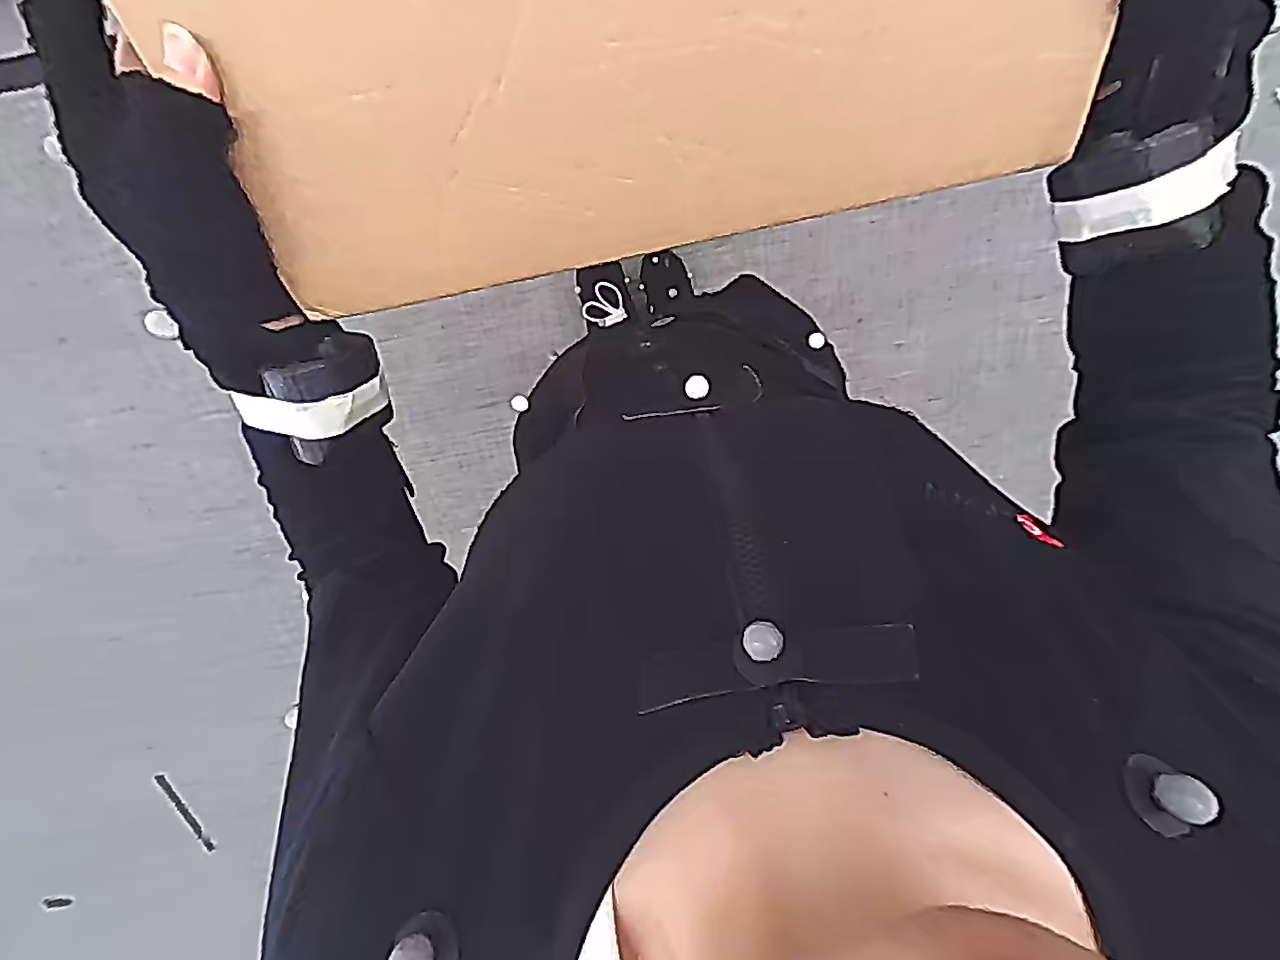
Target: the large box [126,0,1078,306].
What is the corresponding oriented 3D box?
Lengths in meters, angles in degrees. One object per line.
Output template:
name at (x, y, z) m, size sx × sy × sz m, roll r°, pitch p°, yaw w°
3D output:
large box at (-0.025, -0.344, 0.298) m, size 0.408 × 0.320 × 0.320 m, roll -11°, pitch 131°, yaw 1°
